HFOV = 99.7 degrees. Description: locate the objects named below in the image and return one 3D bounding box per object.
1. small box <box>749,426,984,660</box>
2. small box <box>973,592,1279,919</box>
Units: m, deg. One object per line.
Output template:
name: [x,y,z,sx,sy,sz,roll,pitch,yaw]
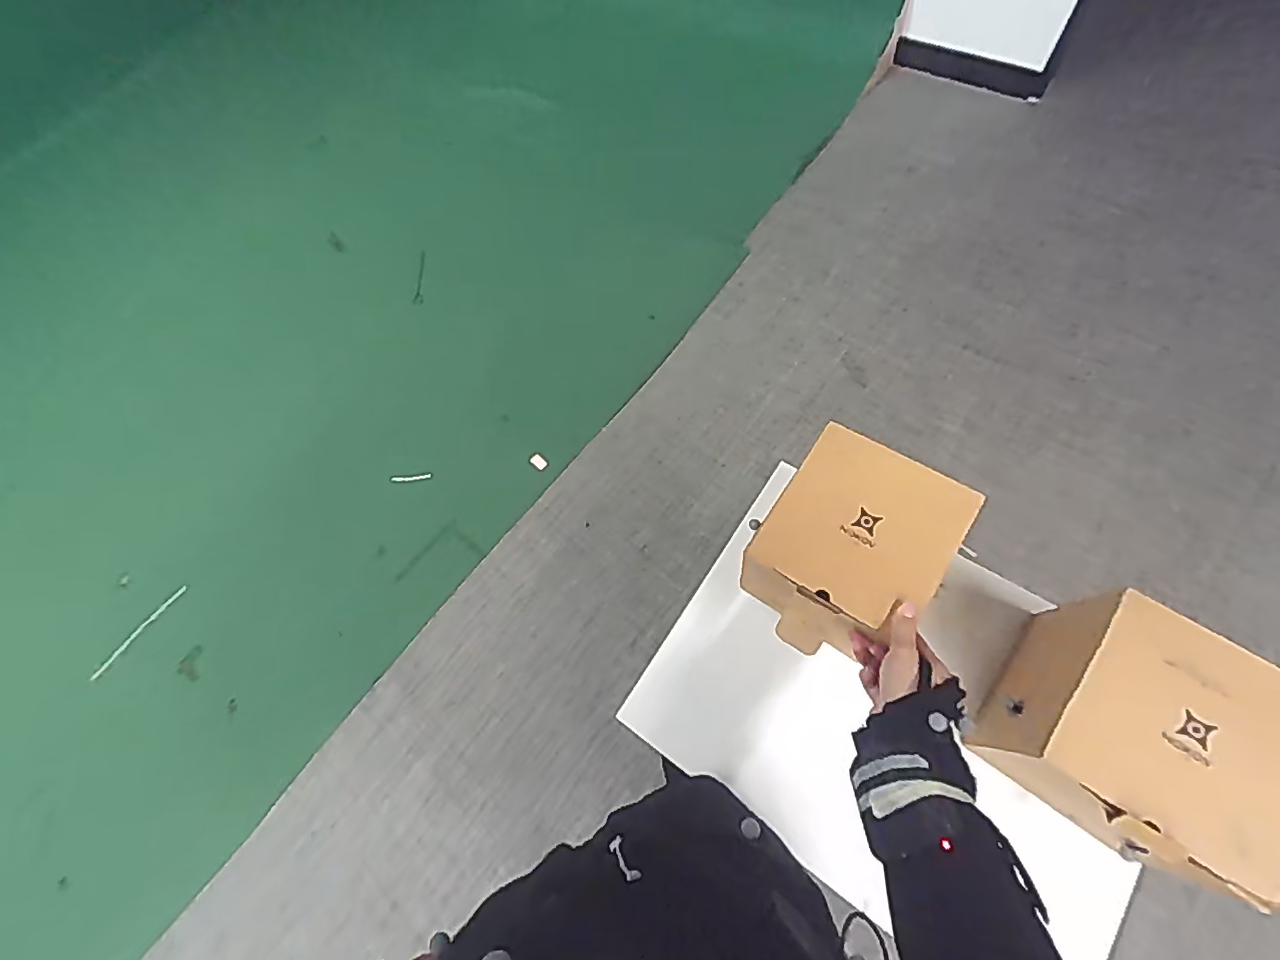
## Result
small box: [0.230,0.077,0.599,0.168,0.176,0.179,31,77,19]
small box: [0.447,0.235,0.500,0.168,0.176,0.179,33,76,19]
